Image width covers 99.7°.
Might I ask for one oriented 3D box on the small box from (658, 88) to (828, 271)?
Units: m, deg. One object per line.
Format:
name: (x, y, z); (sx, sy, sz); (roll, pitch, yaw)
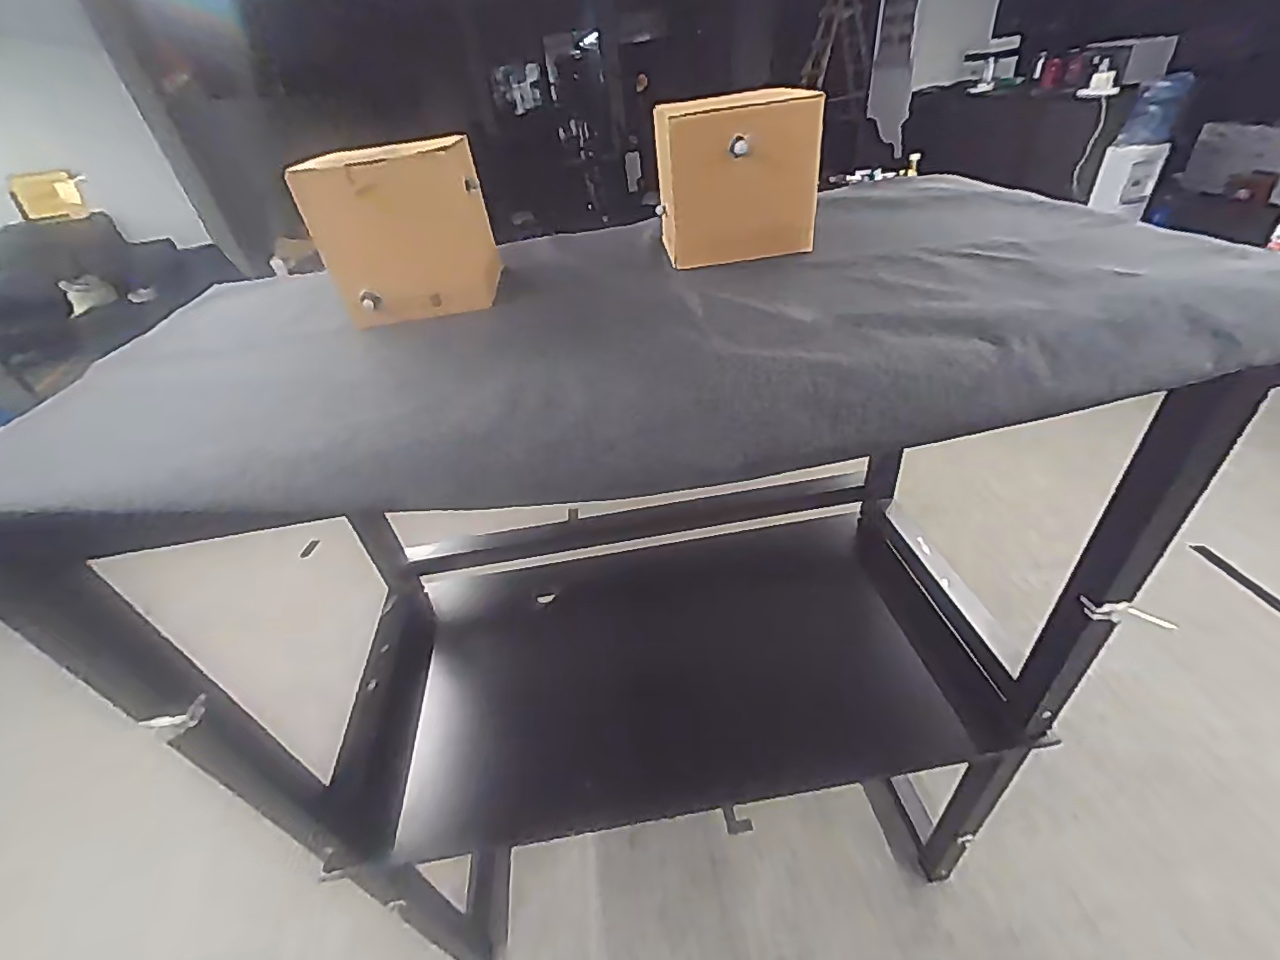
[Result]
small box: (0.122, -0.386, 0.694); (0.179, 0.176, 0.168); (-8, 37, 2)

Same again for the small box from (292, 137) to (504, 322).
small box: (-0.273, -0.303, 0.662); (0.168, 0.176, 0.179); (-9, 36, -2)
